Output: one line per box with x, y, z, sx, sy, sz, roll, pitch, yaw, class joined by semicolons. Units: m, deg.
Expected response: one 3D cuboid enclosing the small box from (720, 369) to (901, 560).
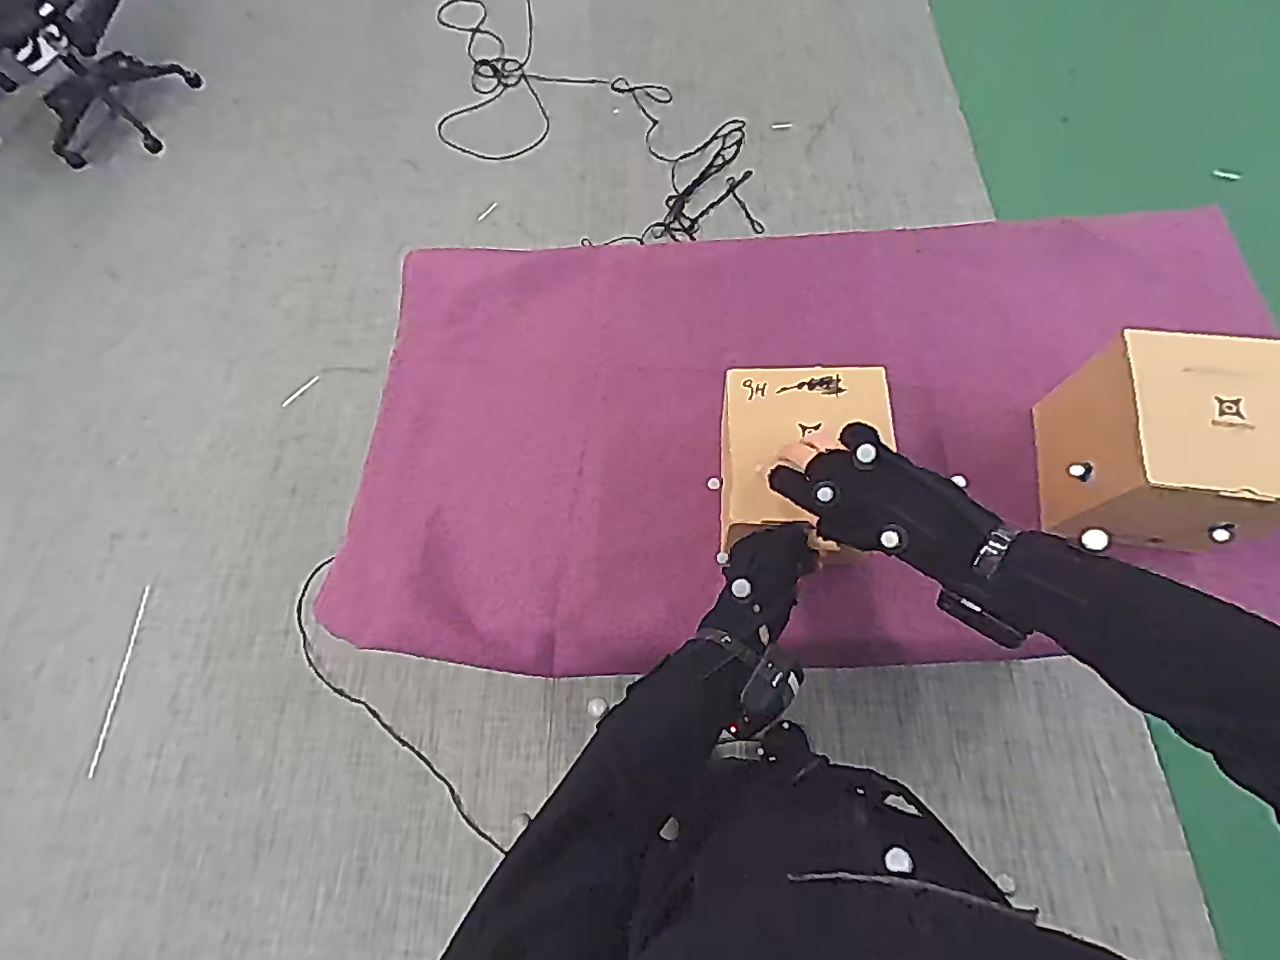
0.179;-0.008;0.620;0.168;0.176;0.179;1;69;6;small box

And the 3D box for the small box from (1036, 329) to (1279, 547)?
0.565;-0.036;0.585;0.168;0.176;0.179;8;70;9;small box
